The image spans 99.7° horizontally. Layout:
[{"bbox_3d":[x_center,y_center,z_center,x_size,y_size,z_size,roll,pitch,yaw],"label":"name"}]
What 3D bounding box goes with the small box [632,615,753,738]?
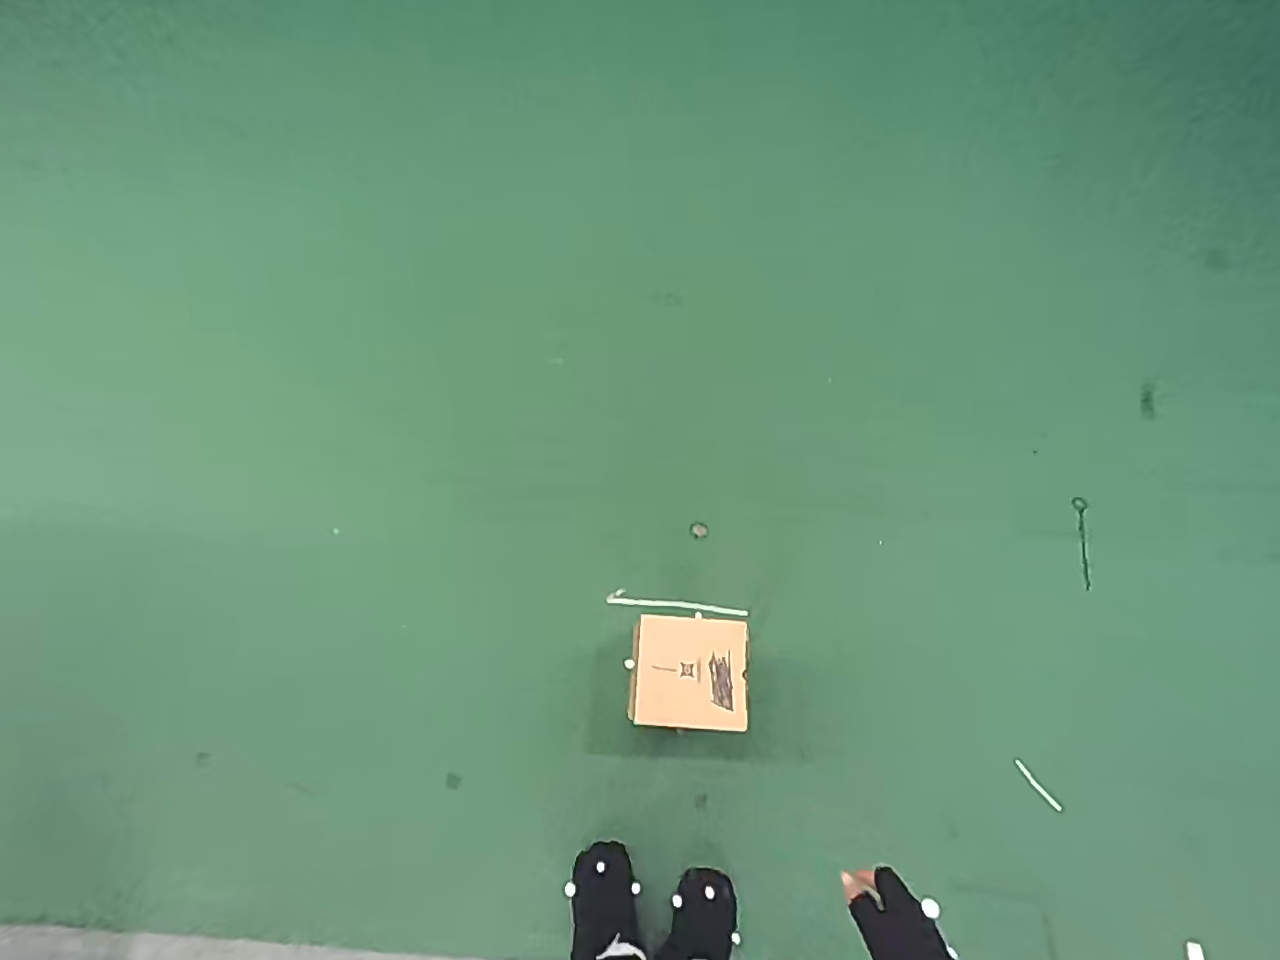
[{"bbox_3d":[0.084,0.333,0.920,0.179,0.176,0.168,7,68,0],"label":"small box"}]
